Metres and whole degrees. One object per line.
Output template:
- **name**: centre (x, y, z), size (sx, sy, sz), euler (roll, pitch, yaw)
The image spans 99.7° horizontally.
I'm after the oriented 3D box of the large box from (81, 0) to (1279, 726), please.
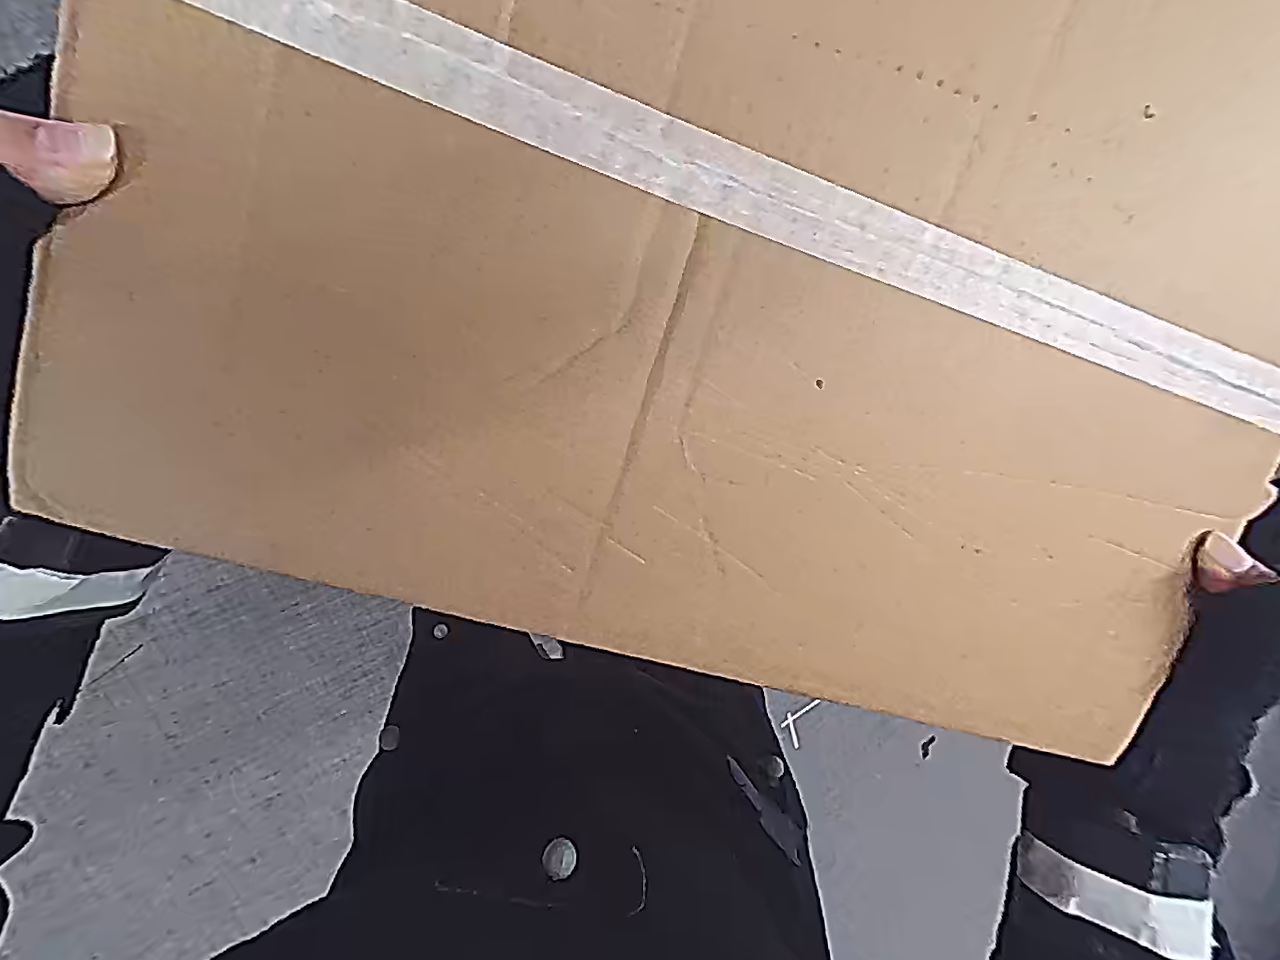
- **large box**: centre (0.034, -0.112, 0.326), size (0.408, 0.320, 0.320), euler (16, 100, -10)
